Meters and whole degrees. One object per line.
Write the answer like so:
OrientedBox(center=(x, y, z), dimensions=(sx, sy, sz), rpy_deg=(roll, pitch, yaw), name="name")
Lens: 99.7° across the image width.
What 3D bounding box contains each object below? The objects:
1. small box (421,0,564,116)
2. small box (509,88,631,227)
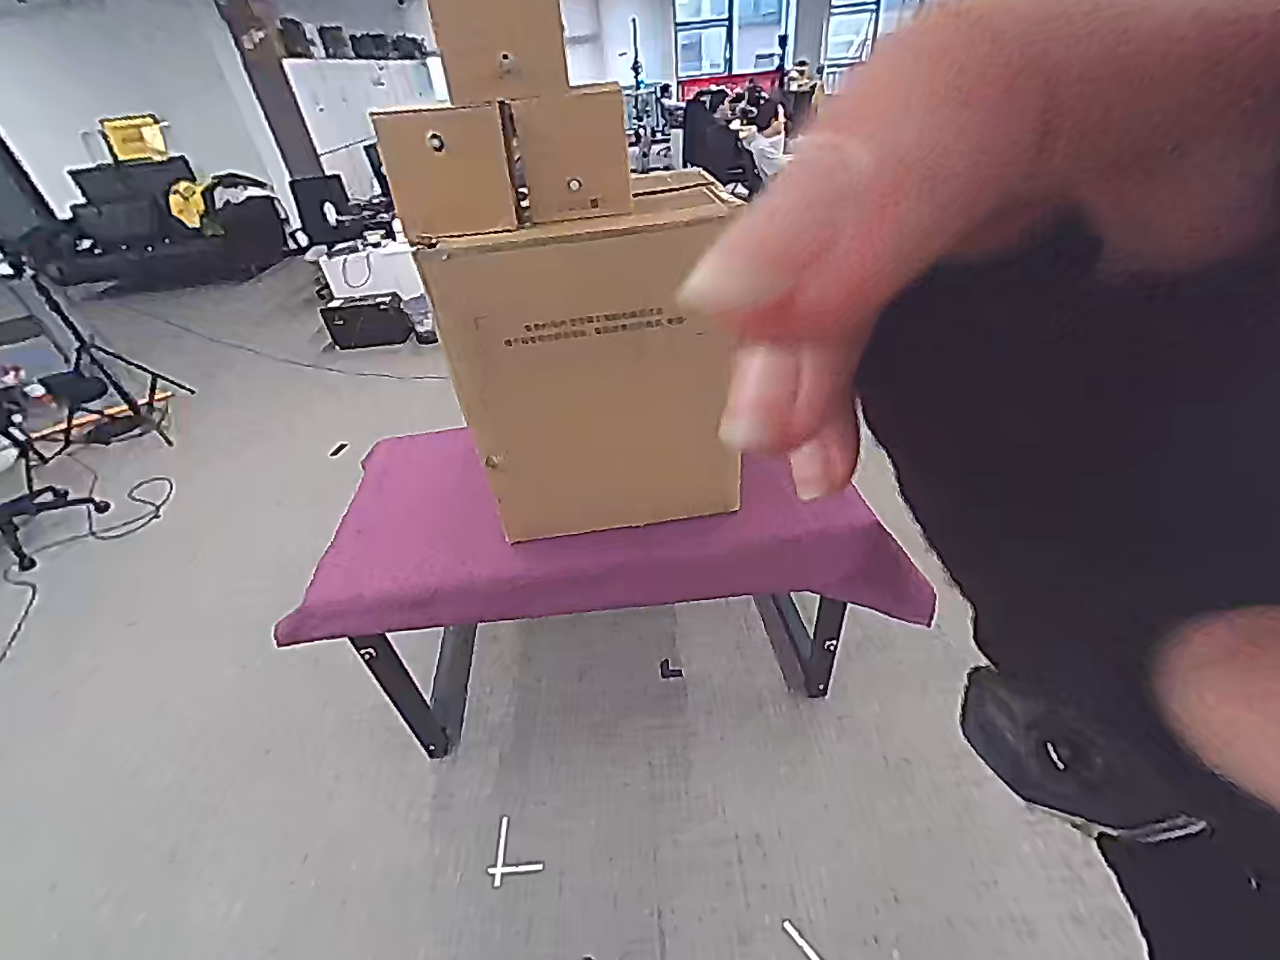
OrientedBox(center=(-0.212, -0.643, 0.784), dimensions=(0.179, 0.176, 0.168), rpy_deg=(-13, 39, -10), name="small box")
OrientedBox(center=(-0.106, -0.531, 0.891), dimensions=(0.168, 0.176, 0.179), rpy_deg=(-7, 40, 0), name="small box")
